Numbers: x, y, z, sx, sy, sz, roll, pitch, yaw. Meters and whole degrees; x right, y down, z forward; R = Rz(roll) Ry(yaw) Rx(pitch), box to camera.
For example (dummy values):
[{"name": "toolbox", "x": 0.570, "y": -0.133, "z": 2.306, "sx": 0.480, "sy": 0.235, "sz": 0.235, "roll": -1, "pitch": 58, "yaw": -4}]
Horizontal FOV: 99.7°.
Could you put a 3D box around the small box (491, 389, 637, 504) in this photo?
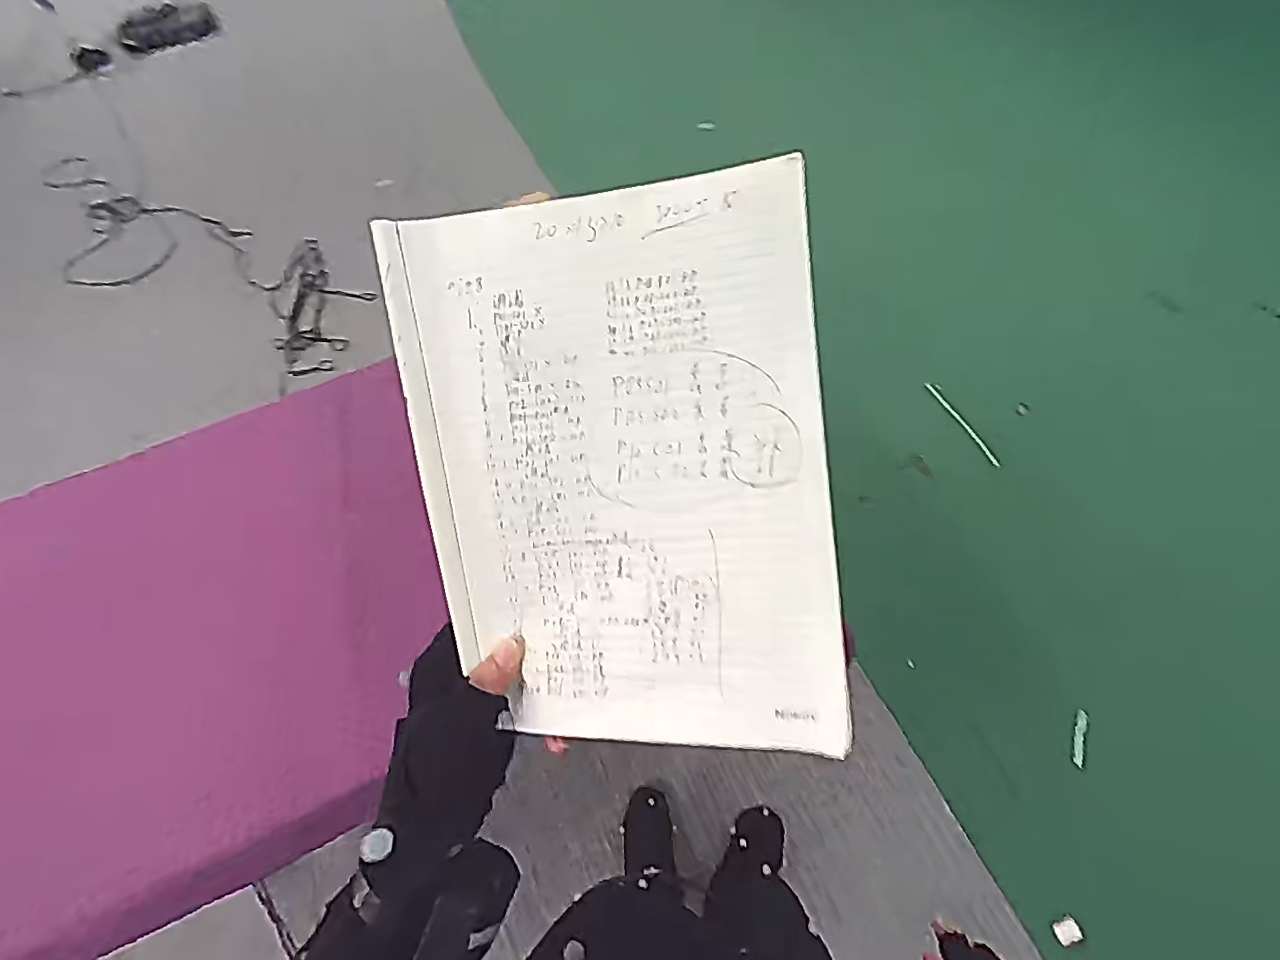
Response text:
[{"name": "small box", "x": -0.112, "y": -0.086, "z": 0.720, "sx": 0.168, "sy": 0.176, "sz": 0.179, "roll": -23, "pitch": 65, "yaw": -7}]

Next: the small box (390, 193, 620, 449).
[{"name": "small box", "x": -0.129, "y": -0.153, "z": 0.571, "sx": 0.168, "sy": 0.176, "sz": 0.179, "roll": -23, "pitch": 66, "yaw": -7}]
